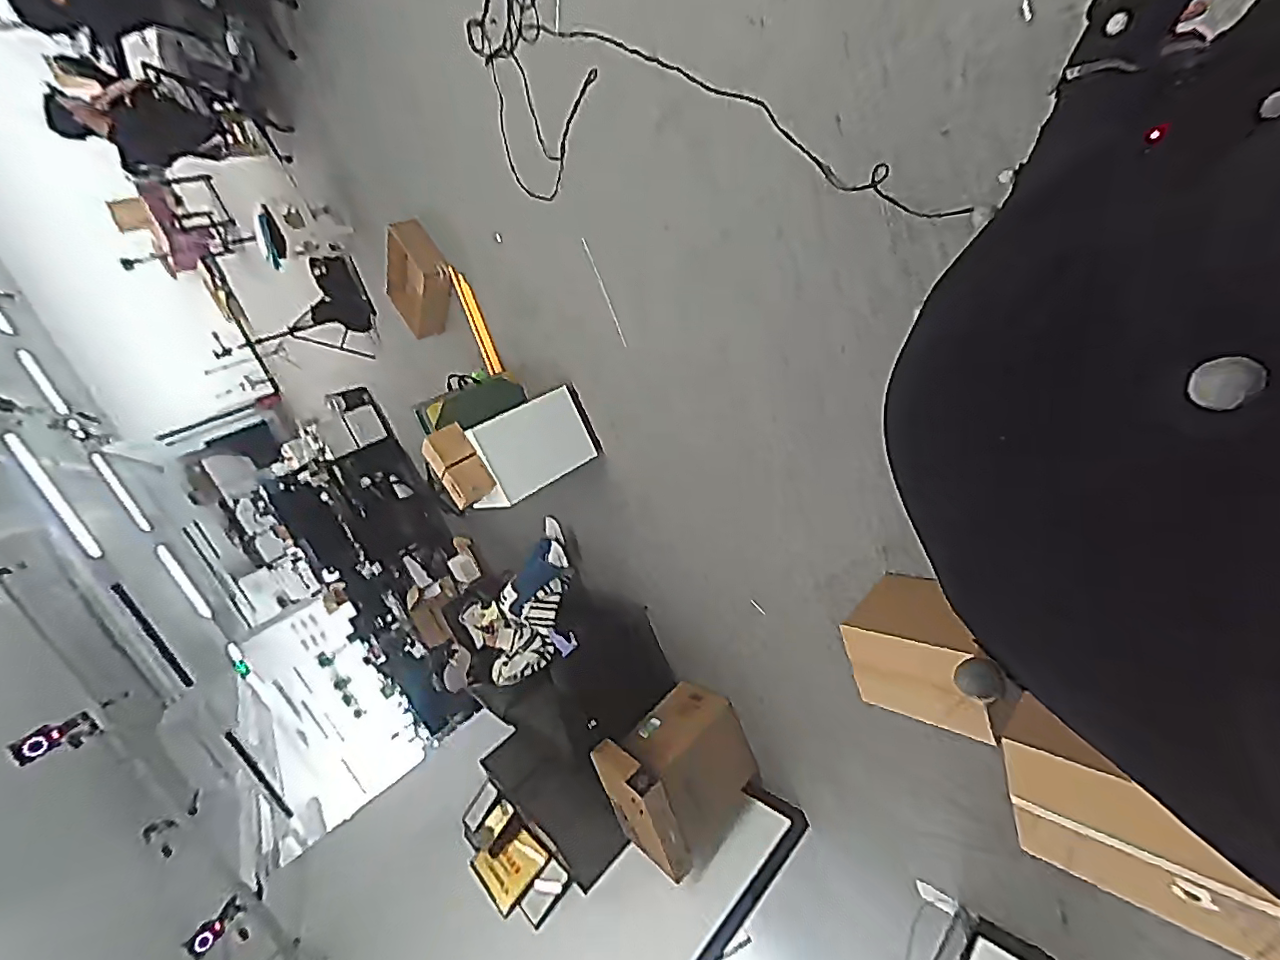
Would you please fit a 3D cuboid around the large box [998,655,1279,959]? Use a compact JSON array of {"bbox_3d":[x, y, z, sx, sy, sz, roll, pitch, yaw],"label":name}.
[{"bbox_3d":[0.985,0.592,1.041,0.408,0.320,0.320,2,115,51],"label":"large box"}]
